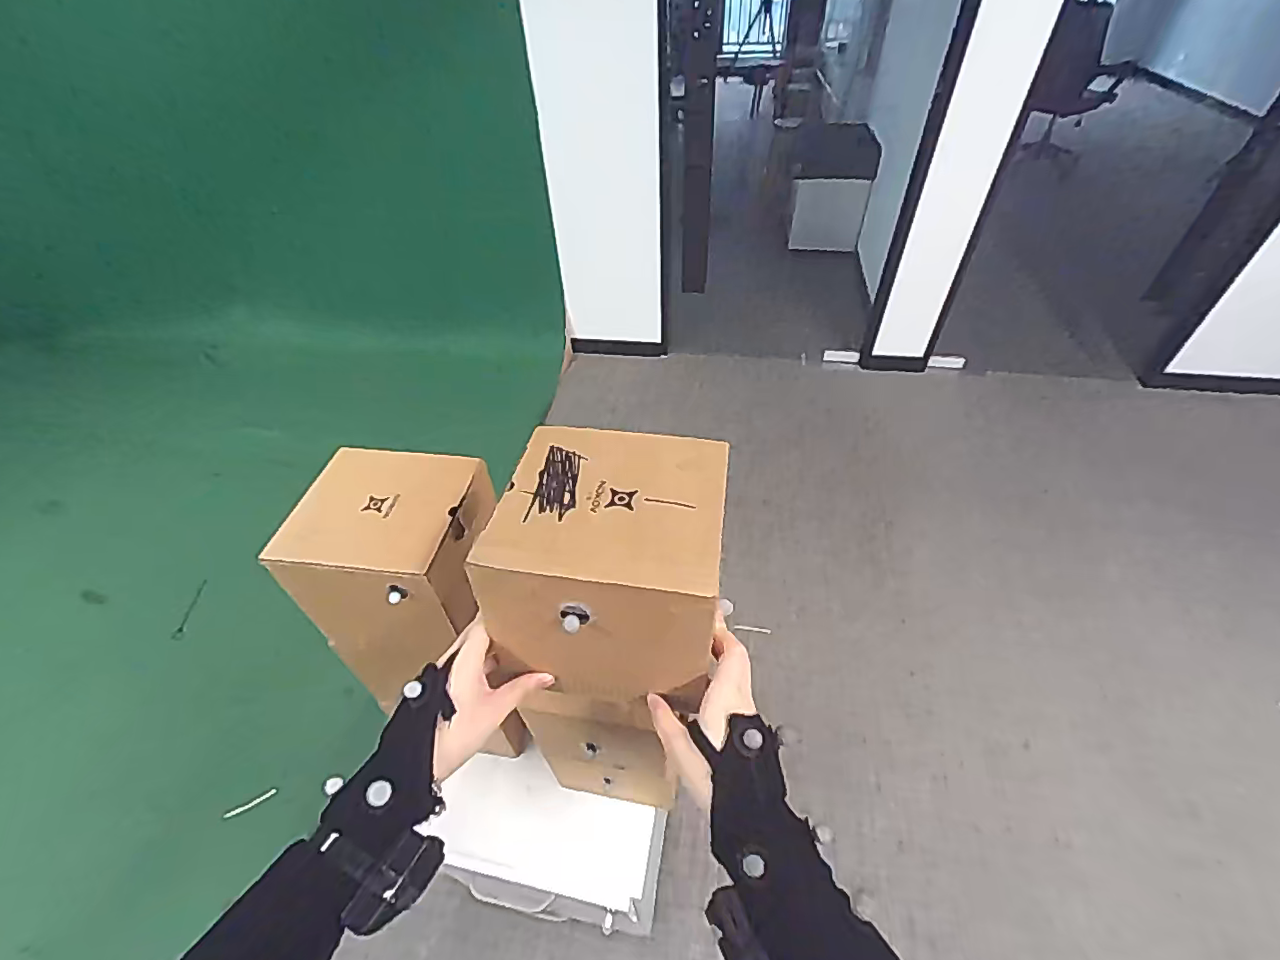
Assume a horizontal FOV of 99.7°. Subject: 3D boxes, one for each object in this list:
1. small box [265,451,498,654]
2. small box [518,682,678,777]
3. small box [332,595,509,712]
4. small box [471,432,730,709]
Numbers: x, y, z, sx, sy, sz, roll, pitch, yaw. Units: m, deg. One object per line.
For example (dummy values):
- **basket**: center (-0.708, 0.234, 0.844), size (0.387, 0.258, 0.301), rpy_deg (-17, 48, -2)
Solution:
- **small box**: center (-0.273, 0.086, 0.631), size (0.179, 0.176, 0.168), rpy_deg (5, 46, 4)
- **small box**: center (-0.034, 0.251, 0.685), size (0.168, 0.176, 0.179), rpy_deg (7, 47, 10)
- **small box**: center (-0.271, 0.203, 0.745), size (0.179, 0.176, 0.168), rpy_deg (4, 45, 5)
- **small box**: center (-0.019, 0.078, 0.476), size (0.179, 0.176, 0.168), rpy_deg (6, 43, 7)
